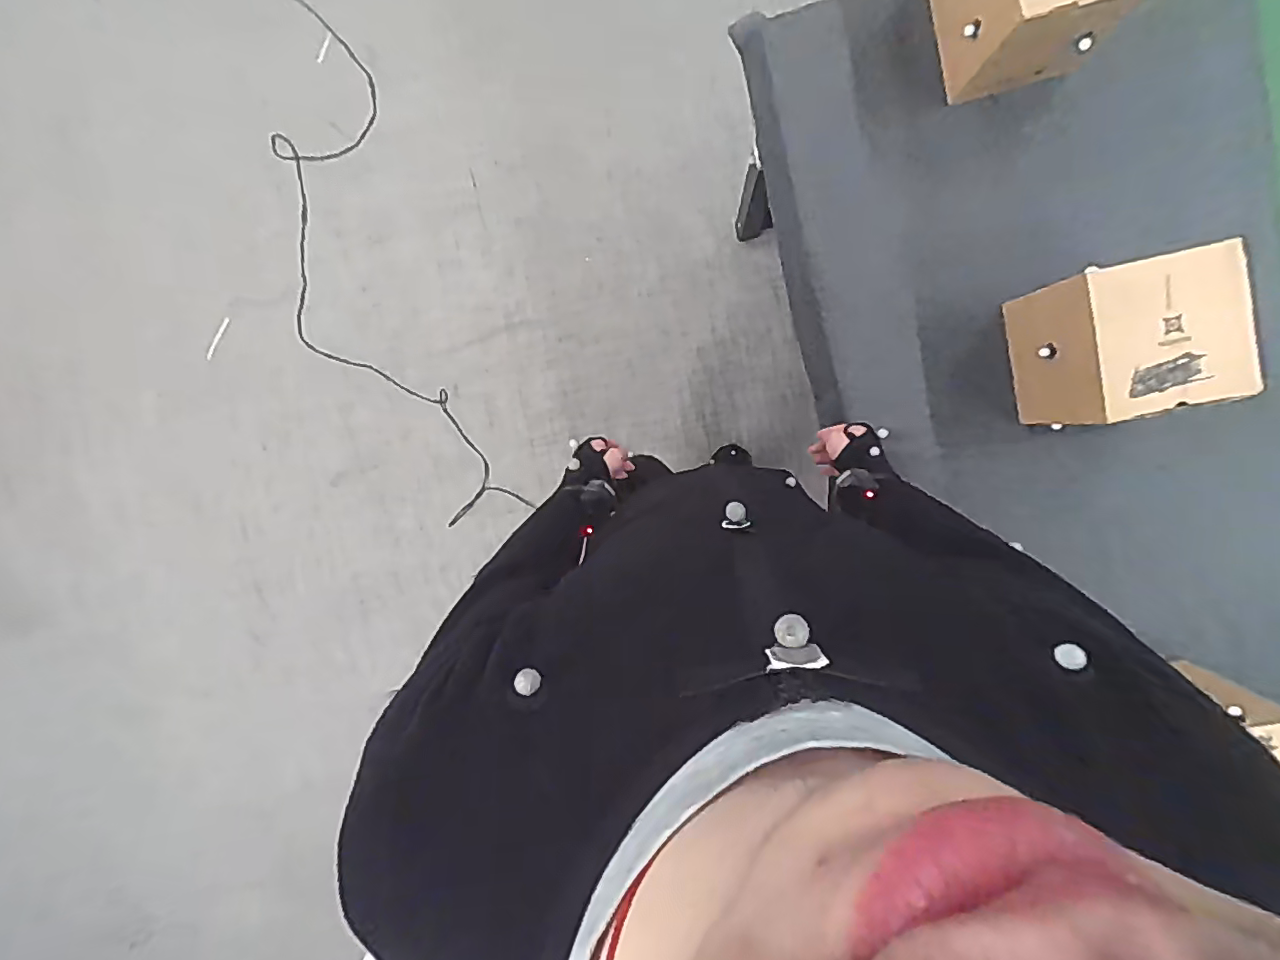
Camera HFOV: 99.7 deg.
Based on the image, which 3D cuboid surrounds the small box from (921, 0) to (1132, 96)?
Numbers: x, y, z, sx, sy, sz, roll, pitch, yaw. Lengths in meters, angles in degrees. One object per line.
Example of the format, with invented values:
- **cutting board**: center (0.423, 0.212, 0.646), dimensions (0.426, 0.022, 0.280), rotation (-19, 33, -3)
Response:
- **small box**: center (0.468, -0.606, 0.652), dimensions (0.168, 0.176, 0.179), rotation (-14, 94, 3)

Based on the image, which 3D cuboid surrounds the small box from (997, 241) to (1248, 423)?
- **small box**: center (0.594, -0.174, 0.688), dimensions (0.168, 0.176, 0.179), rotation (-12, 94, 4)
